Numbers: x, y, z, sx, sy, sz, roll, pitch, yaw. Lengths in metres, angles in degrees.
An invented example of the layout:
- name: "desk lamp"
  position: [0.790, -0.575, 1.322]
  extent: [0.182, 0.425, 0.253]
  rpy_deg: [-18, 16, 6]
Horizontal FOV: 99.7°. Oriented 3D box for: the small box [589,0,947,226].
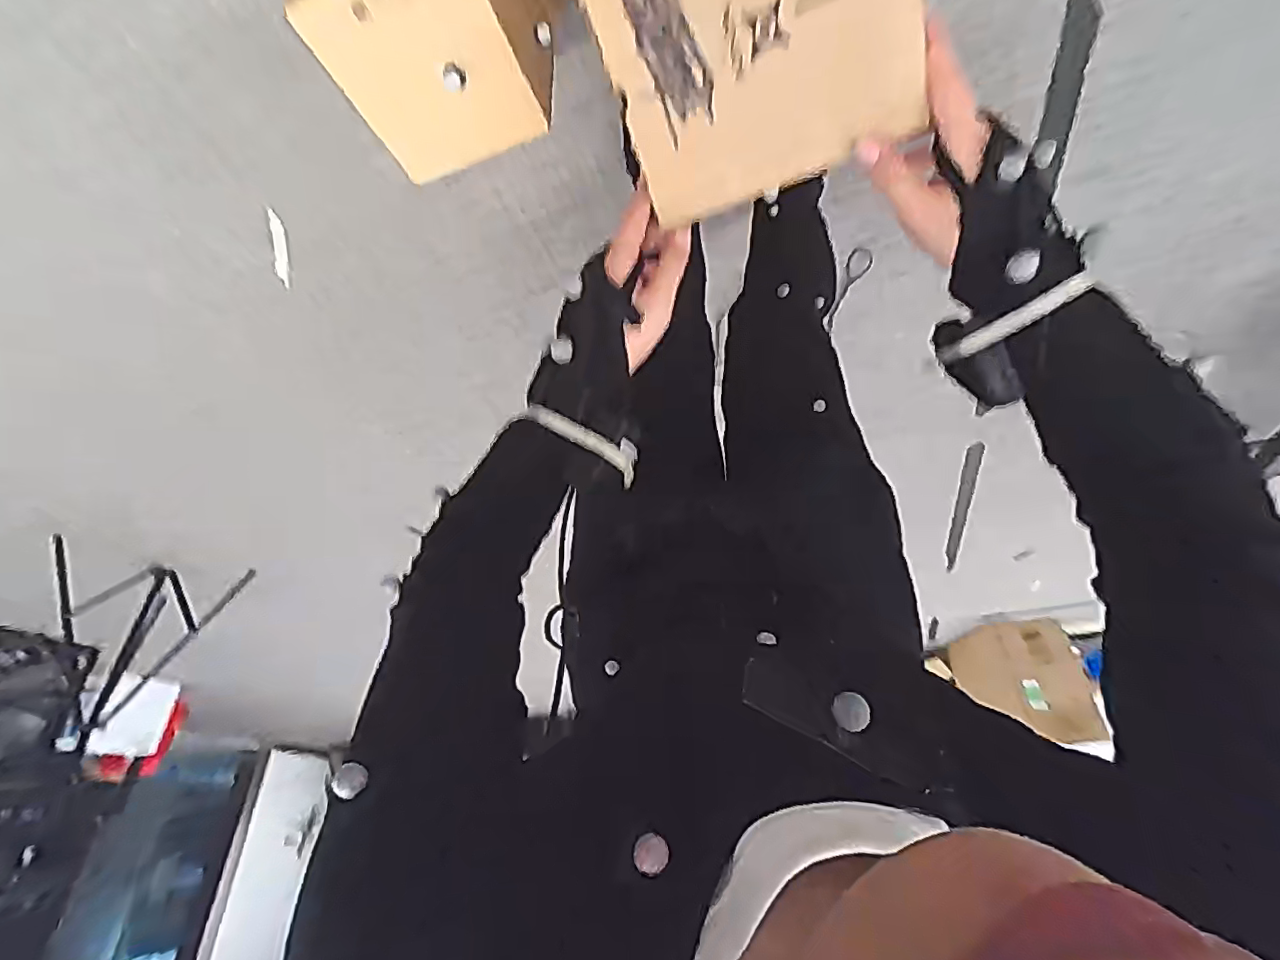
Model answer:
- name: "small box"
  position: [0.083, -0.298, 0.357]
  extent: [0.179, 0.176, 0.168]
  rpy_deg: [-11, 126, 23]
